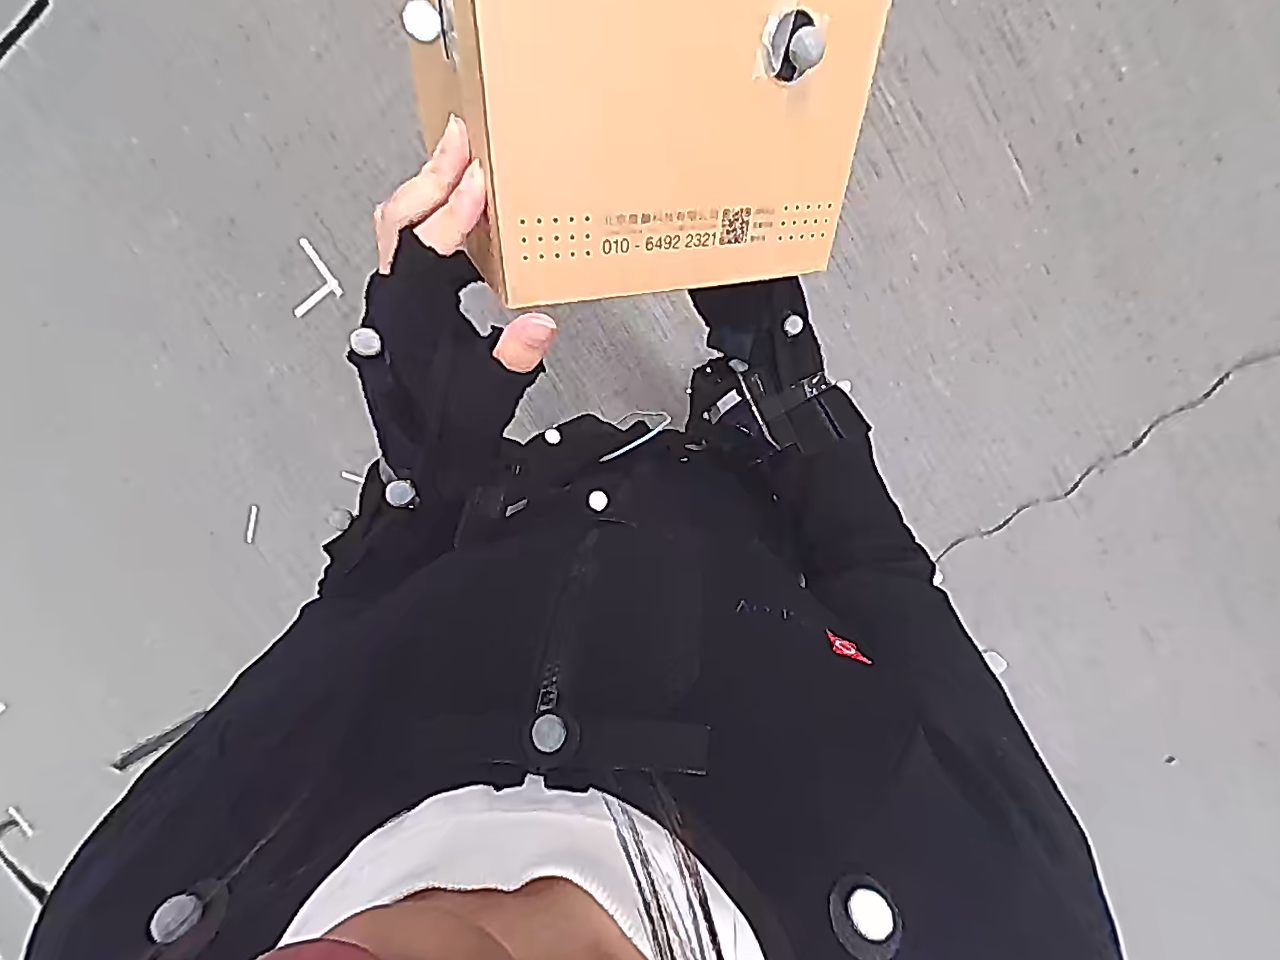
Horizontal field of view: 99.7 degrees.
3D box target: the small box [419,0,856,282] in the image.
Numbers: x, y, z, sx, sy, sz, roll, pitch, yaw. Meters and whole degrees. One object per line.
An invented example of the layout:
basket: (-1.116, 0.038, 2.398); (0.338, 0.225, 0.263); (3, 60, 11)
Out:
small box: (-0.011, -0.206, 0.273); (0.168, 0.179, 0.176); (-14, 130, -21)
